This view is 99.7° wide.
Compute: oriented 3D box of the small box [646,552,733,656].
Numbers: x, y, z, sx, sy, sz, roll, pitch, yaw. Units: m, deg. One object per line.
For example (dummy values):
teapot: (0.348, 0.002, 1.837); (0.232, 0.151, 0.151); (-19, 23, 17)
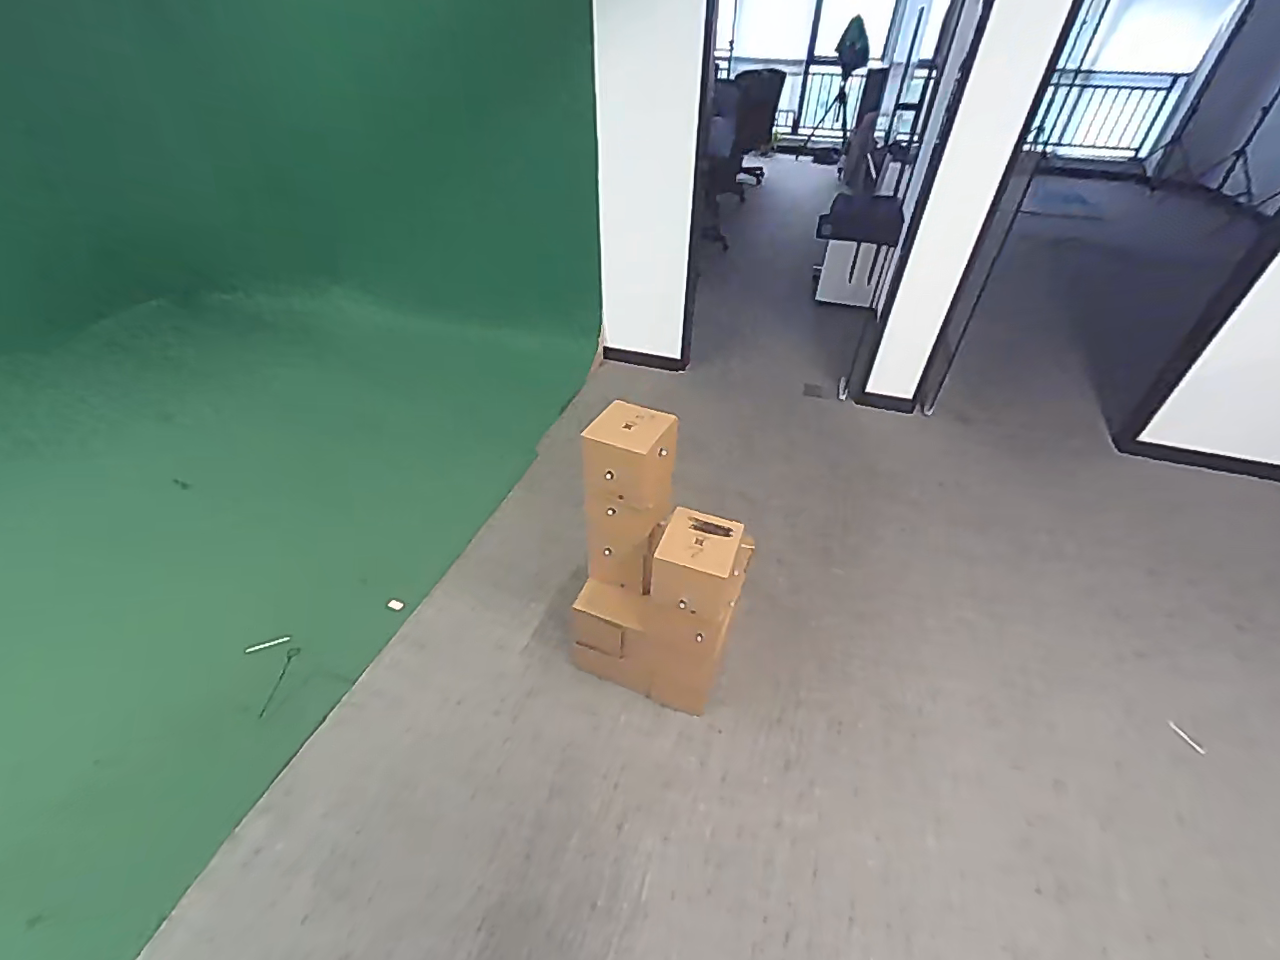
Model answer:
small box: (0.123, 0.314, 1.359); (0.179, 0.176, 0.168); (14, 41, 14)

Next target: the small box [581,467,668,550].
small box: (-0.035, 0.059, 1.399); (0.179, 0.176, 0.168); (12, 40, 16)

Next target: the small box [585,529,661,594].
small box: (-0.045, 0.185, 1.510); (0.168, 0.176, 0.179); (14, 40, 15)

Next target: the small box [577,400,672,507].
small box: (-0.033, -0.062, 1.291); (0.168, 0.176, 0.179); (19, 42, 19)
